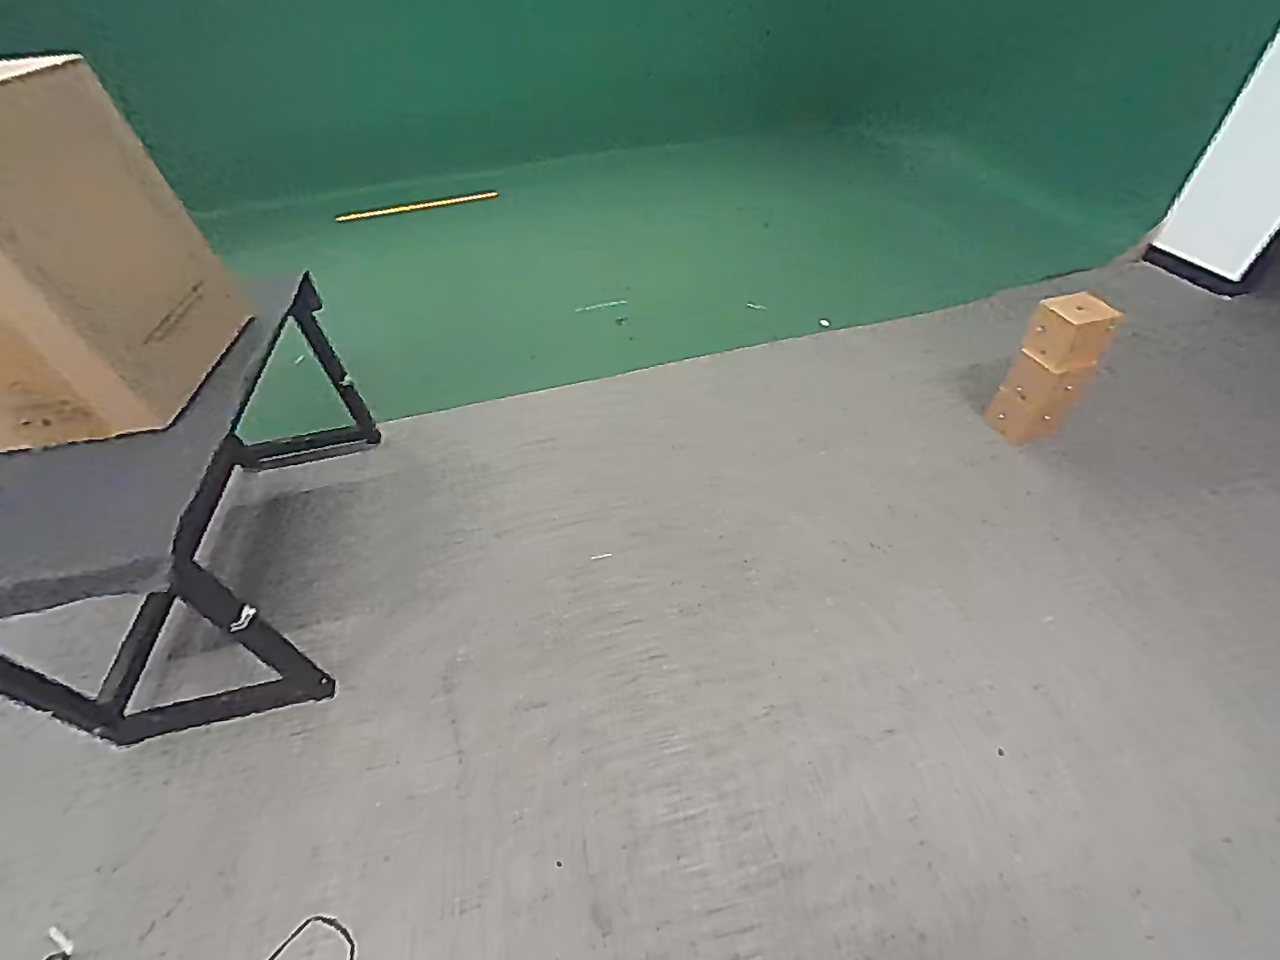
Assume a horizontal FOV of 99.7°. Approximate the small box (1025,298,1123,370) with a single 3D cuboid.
[{"bbox_3d":[1.451,-0.490,1.828,0.179,0.176,0.168,-12,46,-6],"label":"small box"}]
